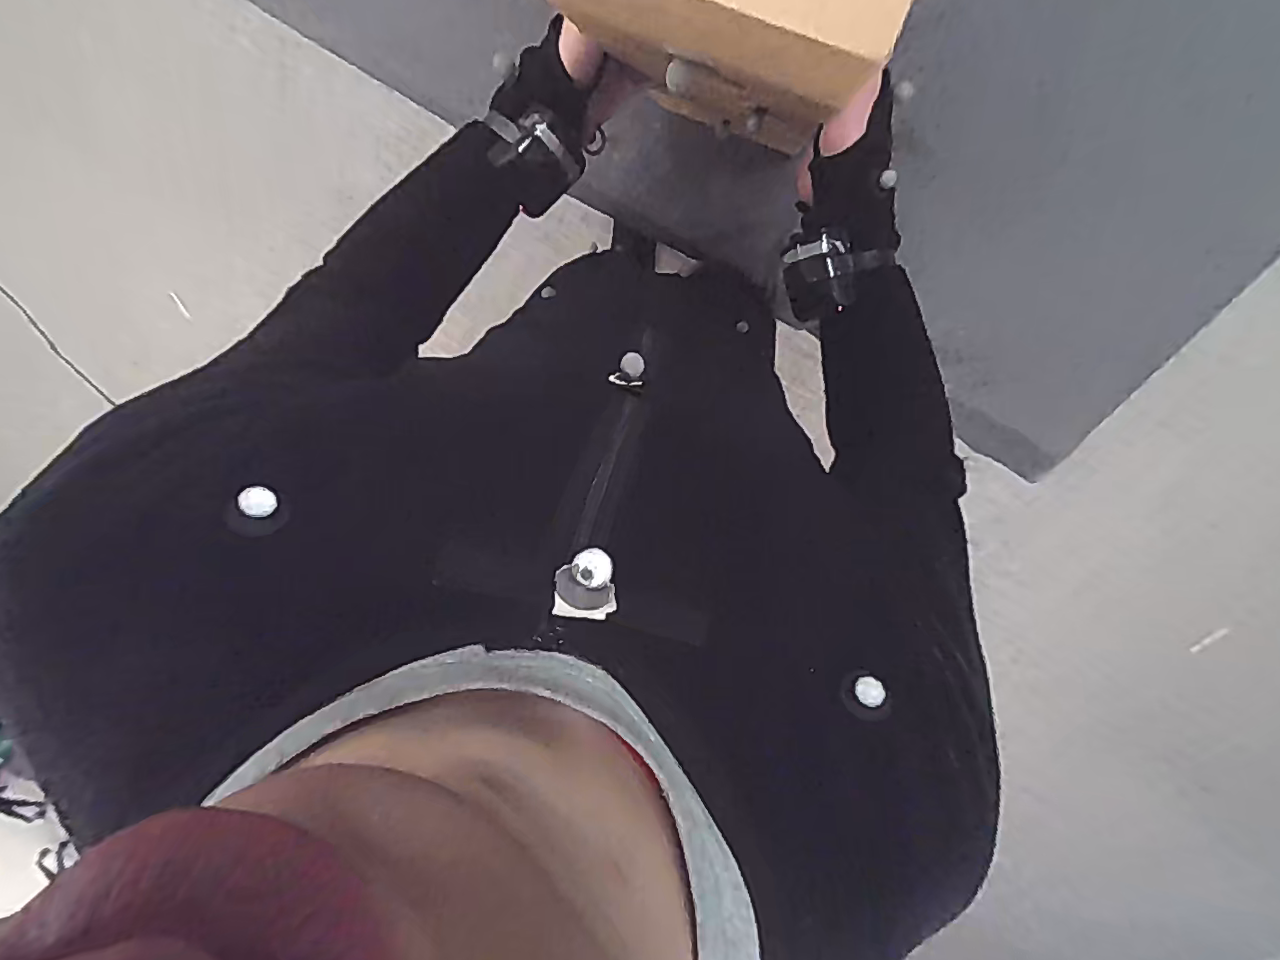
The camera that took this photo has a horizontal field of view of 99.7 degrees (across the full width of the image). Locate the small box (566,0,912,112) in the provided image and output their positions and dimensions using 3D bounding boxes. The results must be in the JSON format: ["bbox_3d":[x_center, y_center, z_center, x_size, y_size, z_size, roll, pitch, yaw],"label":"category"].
[{"bbox_3d":[0.049,-0.279,0.215,0.168,0.176,0.179,21,121,0],"label":"small box"}]

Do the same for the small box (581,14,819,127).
[{"bbox_3d":[0.078,-0.359,0.356,0.168,0.176,0.179,19,119,1],"label":"small box"}]

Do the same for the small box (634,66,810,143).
[{"bbox_3d":[0.111,-0.435,0.497,0.168,0.176,0.179,21,120,1],"label":"small box"}]
